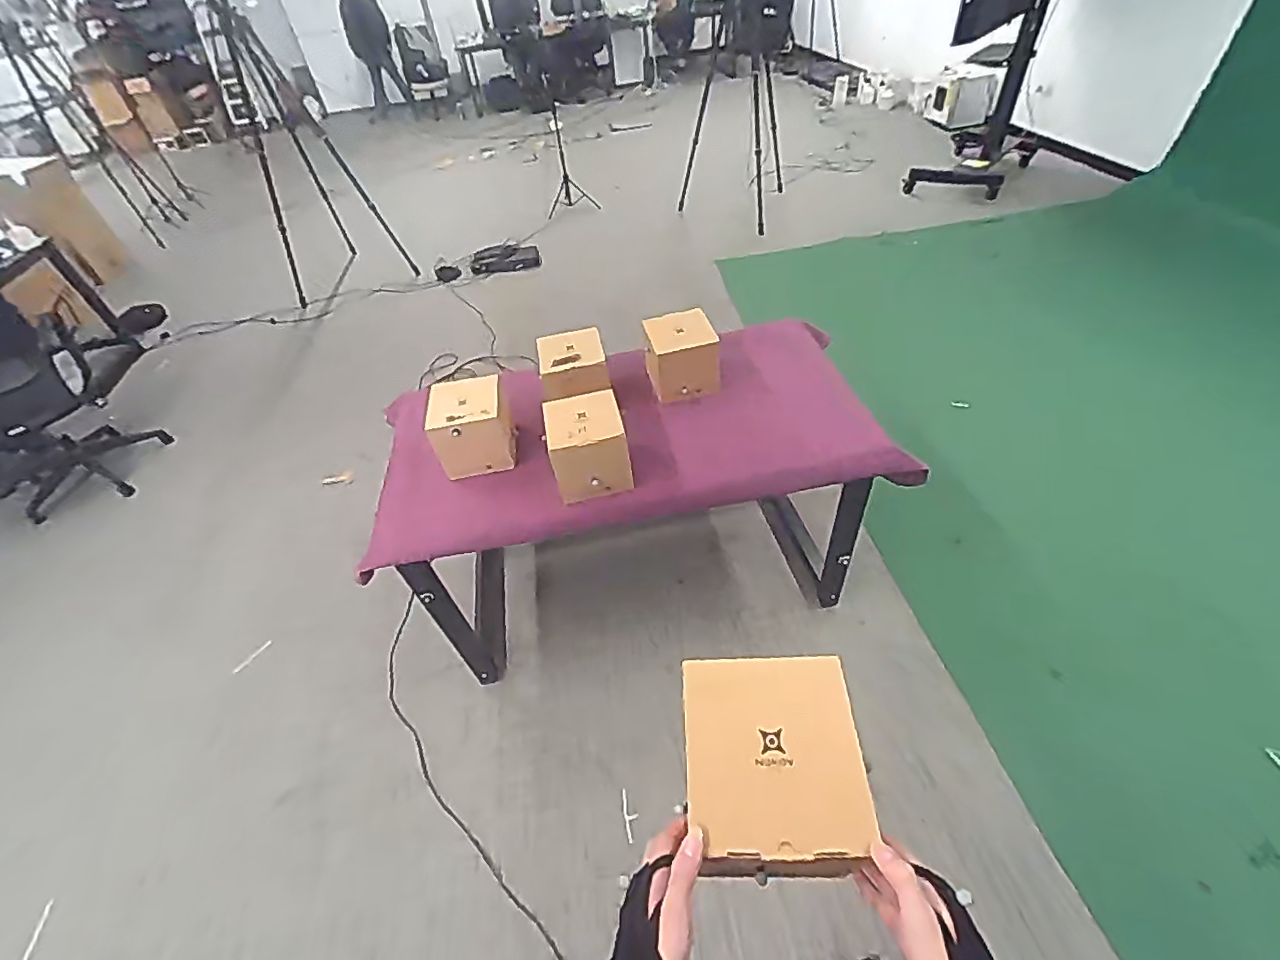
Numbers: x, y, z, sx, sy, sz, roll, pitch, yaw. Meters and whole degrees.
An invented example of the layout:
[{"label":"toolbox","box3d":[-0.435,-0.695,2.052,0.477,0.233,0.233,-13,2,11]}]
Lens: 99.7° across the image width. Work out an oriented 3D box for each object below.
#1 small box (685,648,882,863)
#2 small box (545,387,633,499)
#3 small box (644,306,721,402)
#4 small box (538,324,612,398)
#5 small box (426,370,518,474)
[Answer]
[{"label":"small box","box3d":[0.133,0.298,0.583,0.168,0.176,0.179,-2,51,4]},{"label":"small box","box3d":[-0.117,-0.085,1.236,0.168,0.176,0.179,-12,45,-4]},{"label":"small box","box3d":[0.112,-0.336,1.449,0.168,0.176,0.179,-13,47,-3]},{"label":"small box","box3d":[-0.167,-0.283,1.434,0.168,0.176,0.179,-12,46,-4]},{"label":"small box","box3d":[-0.404,-0.141,1.326,0.168,0.176,0.179,-11,46,-1]}]
